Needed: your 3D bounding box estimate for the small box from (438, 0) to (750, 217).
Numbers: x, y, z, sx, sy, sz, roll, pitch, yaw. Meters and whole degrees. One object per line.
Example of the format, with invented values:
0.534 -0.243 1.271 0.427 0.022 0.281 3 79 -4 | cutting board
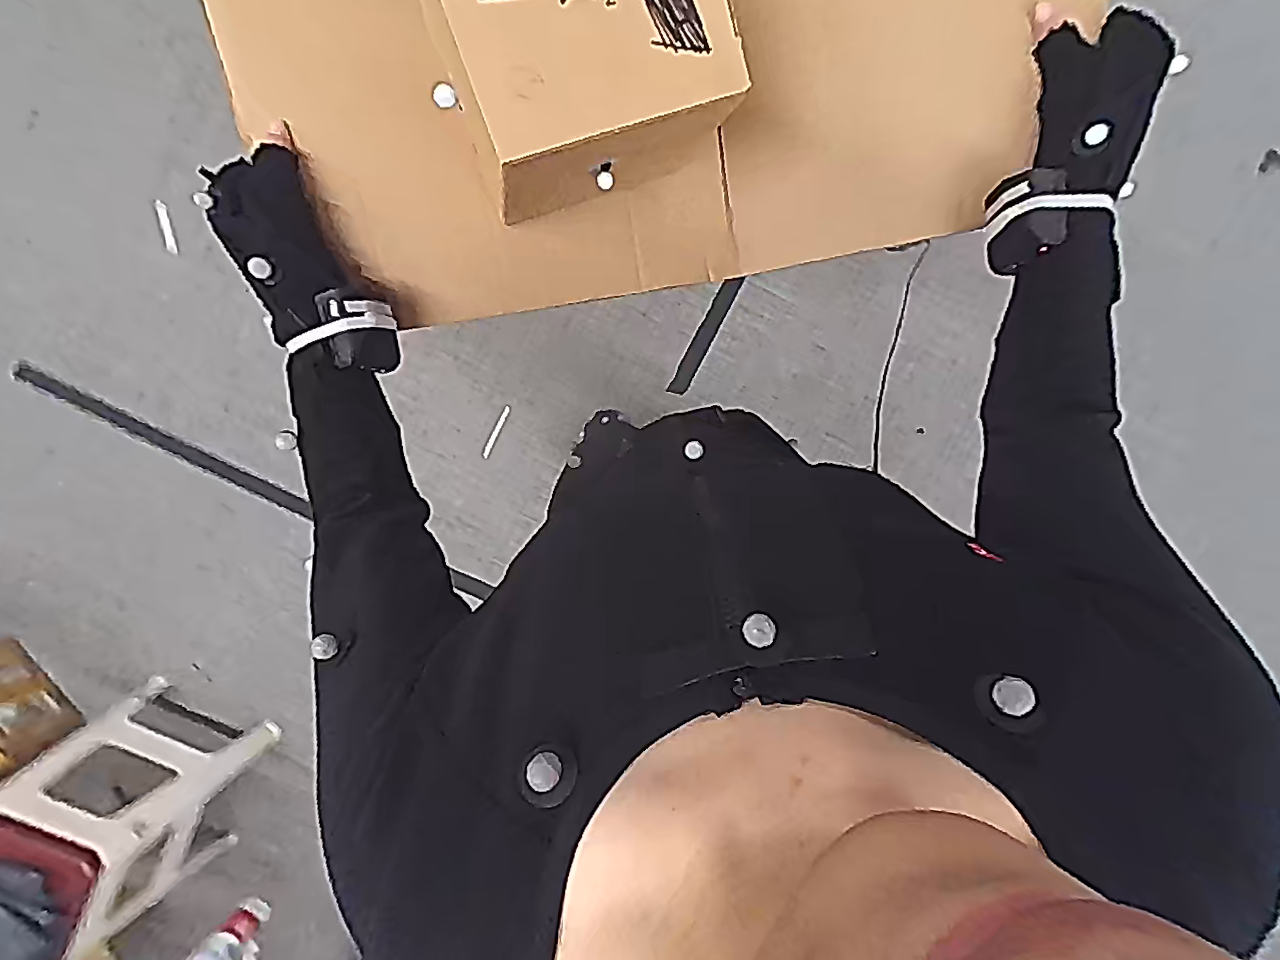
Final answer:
-0.045 -0.321 0.408 0.179 0.176 0.168 -20 107 -8 | small box
